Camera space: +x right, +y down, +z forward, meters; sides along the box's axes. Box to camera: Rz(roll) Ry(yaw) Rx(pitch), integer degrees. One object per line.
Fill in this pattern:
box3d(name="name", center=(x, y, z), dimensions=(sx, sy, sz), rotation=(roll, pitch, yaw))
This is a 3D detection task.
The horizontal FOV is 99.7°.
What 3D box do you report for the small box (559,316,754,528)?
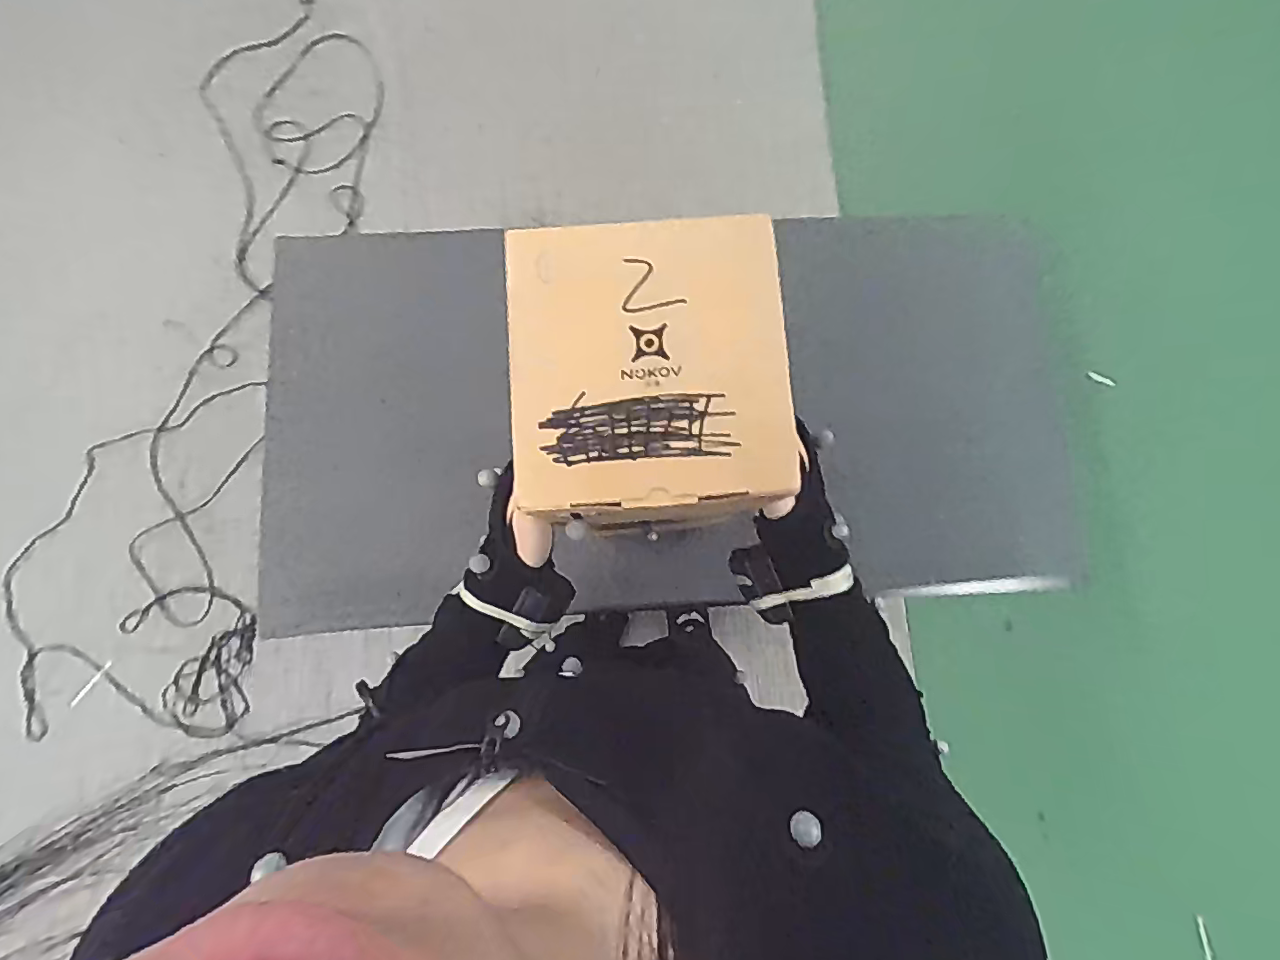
box3d(name="small box", center=(0.009, -0.048, 0.560), dimensions=(0.168, 0.176, 0.179), rotation=(-5, 82, -2))
